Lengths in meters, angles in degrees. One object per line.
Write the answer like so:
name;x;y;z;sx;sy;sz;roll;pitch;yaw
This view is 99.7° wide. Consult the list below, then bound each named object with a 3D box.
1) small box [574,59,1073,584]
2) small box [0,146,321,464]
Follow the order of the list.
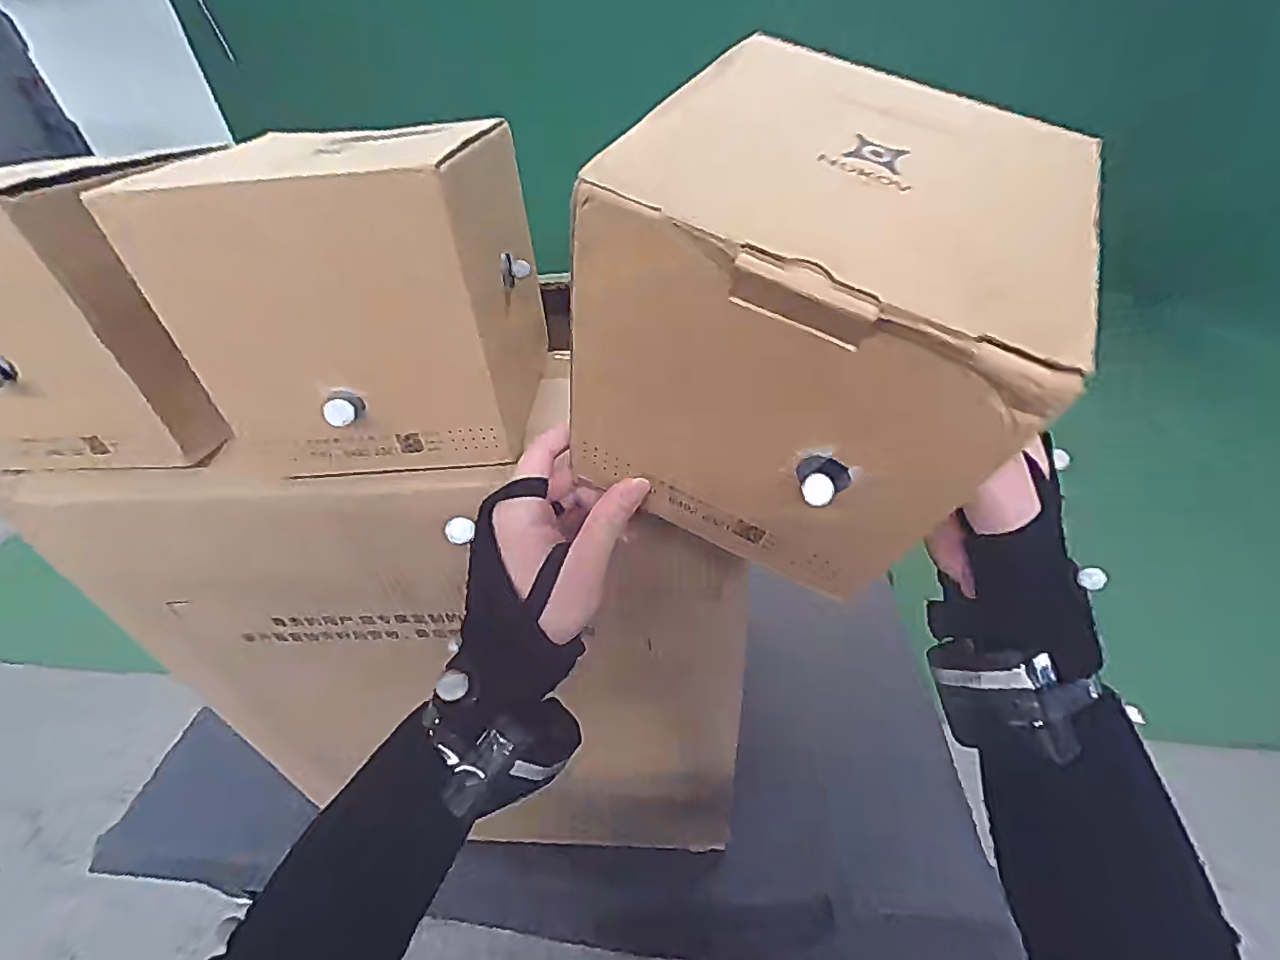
small box;0.078;-0.075;0.281;0.168;0.176;0.179;25;55;9
small box;-0.375;-0.123;0.390;0.168;0.176;0.179;-1;39;7
